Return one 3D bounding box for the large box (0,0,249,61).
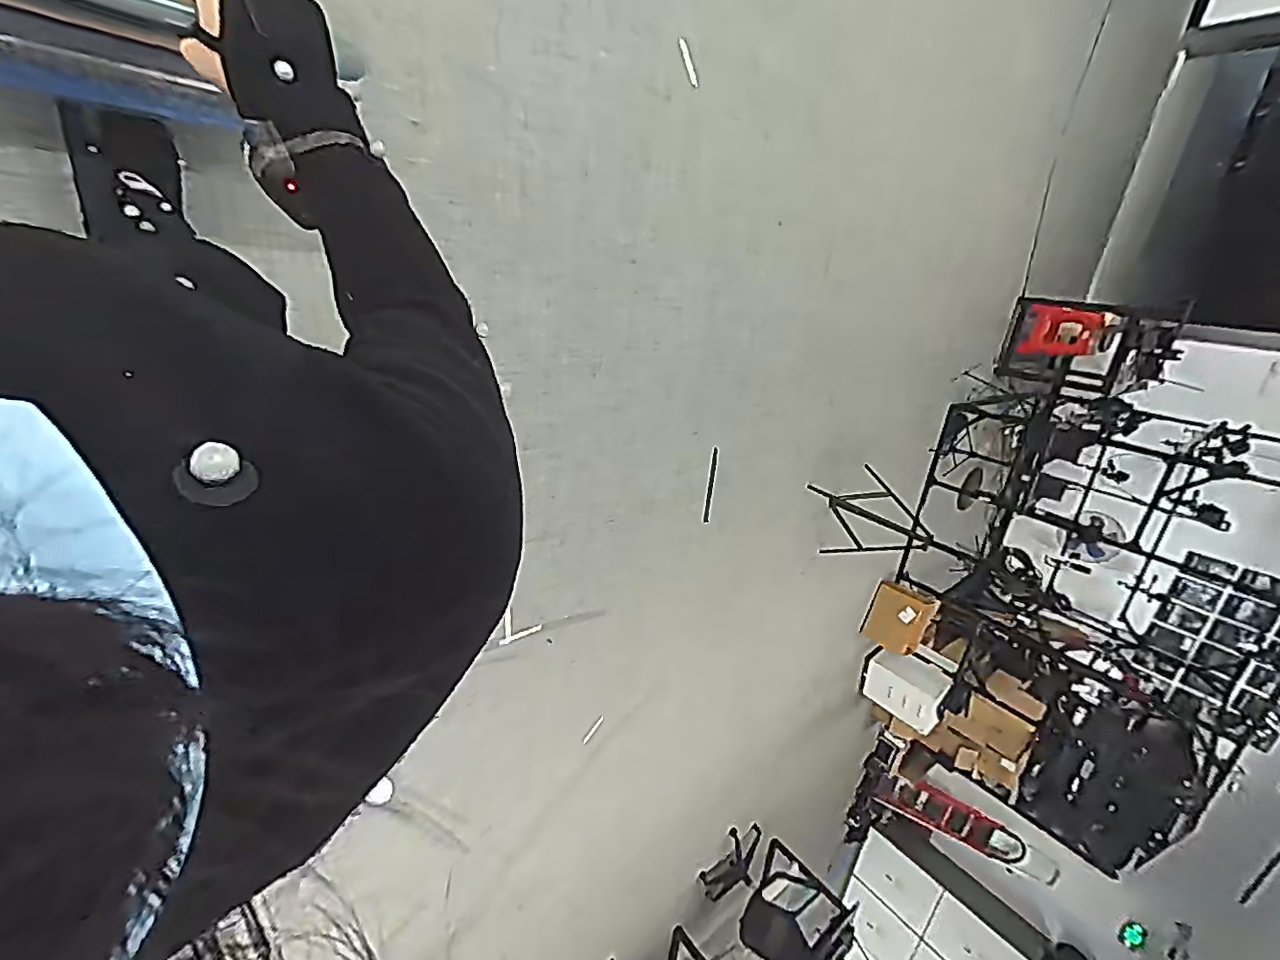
[{"bbox_3d":[-0.730,-0.747,0.611,0.408,0.320,0.320,-12,118,-40],"label":"large box"}]
